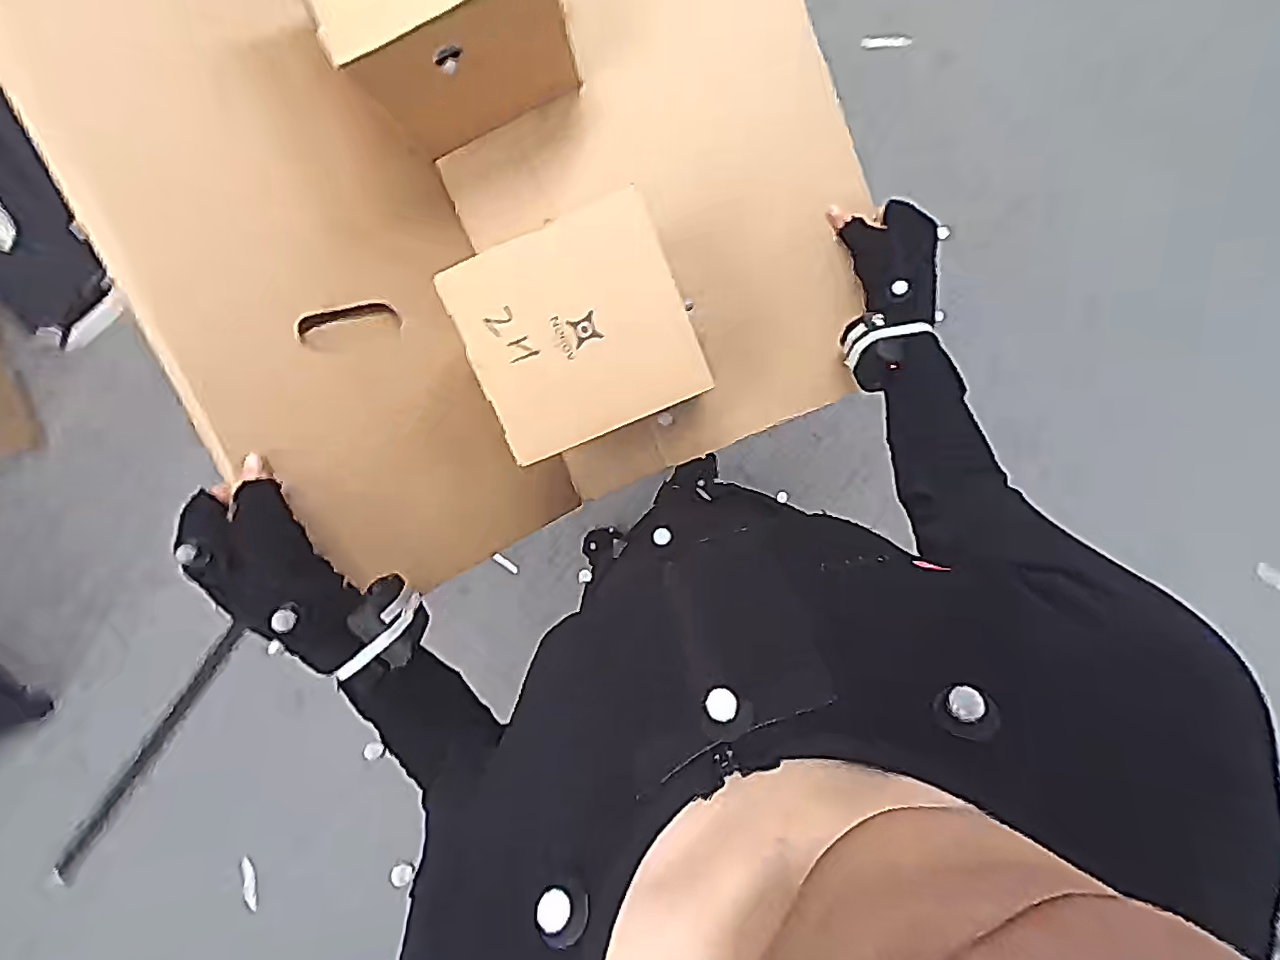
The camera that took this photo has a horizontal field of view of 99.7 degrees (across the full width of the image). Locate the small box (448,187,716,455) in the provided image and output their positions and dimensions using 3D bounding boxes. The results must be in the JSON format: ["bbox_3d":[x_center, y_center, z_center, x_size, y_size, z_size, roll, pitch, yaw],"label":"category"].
[{"bbox_3d":[-0.043,-0.138,0.513,0.179,0.176,0.168,-21,98,6],"label":"small box"}]
